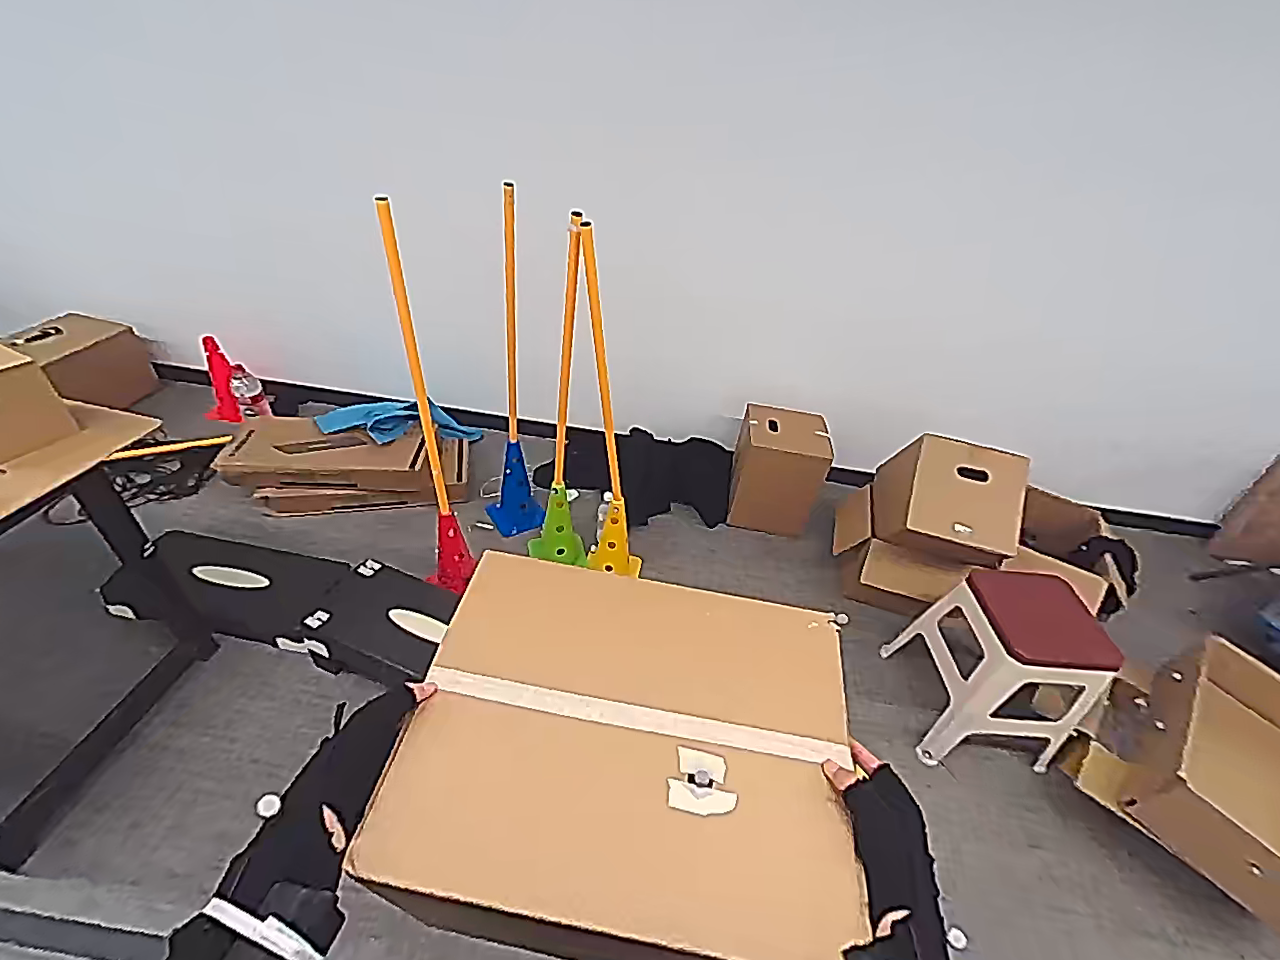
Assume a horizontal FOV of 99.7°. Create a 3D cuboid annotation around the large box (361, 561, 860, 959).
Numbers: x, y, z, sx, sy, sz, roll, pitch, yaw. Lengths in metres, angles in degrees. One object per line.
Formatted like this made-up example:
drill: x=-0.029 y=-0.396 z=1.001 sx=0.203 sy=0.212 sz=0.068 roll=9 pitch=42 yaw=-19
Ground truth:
large box: x=-0.020 y=0.335 z=0.625 sx=0.408 sy=0.320 sz=0.320 roll=10 pitch=46 yaw=3
